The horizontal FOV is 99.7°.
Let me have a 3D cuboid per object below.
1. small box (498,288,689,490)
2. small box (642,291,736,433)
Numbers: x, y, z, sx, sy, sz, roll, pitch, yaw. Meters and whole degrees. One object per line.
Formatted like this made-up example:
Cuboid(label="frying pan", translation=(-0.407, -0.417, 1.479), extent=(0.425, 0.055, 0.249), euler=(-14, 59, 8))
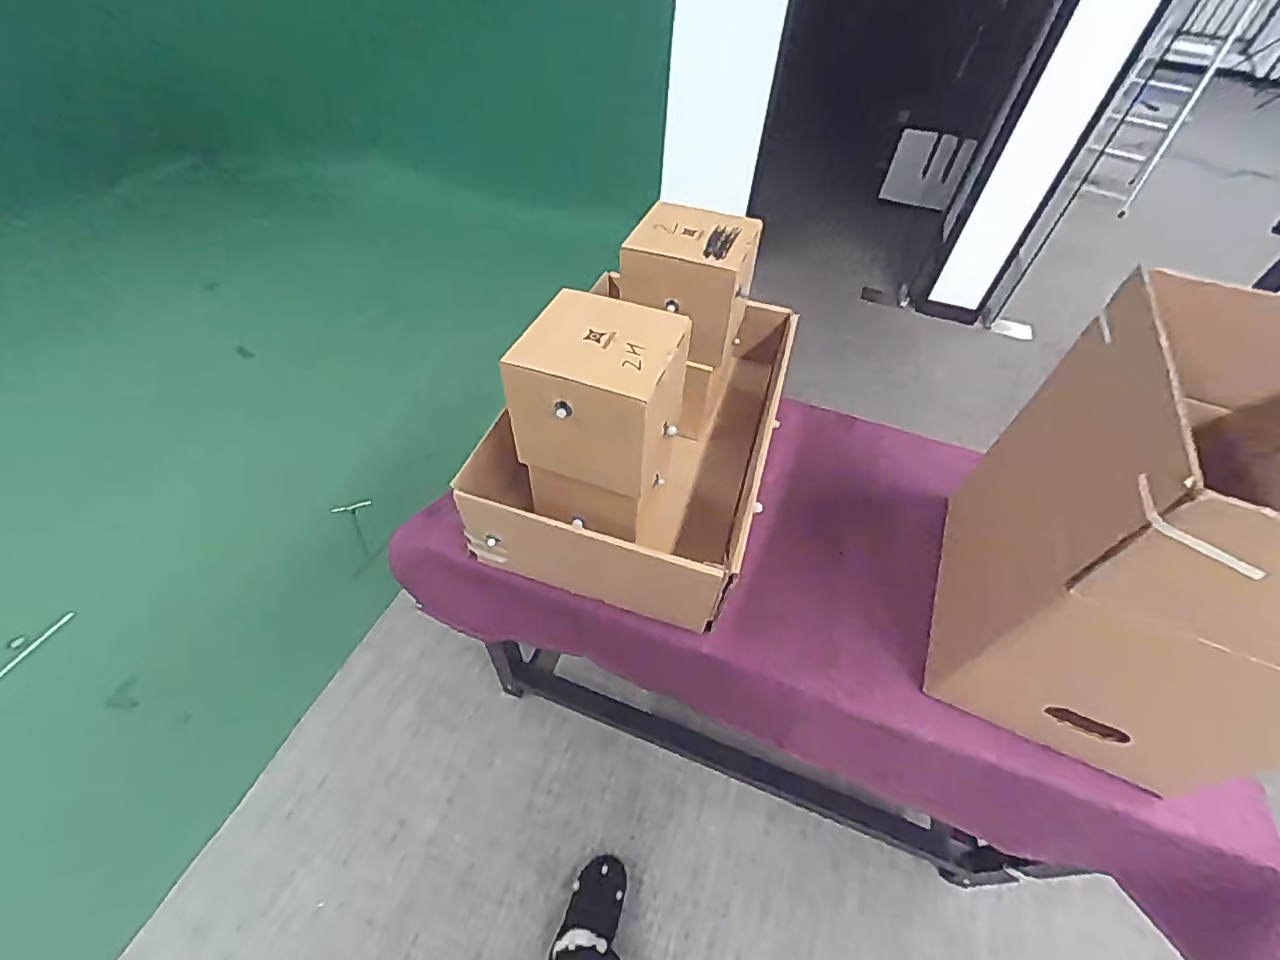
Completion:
Cuboid(label="small box", translation=(-0.051, -0.112, 0.685), extent=(0.179, 0.176, 0.168), euler=(18, 53, 11))
Cuboid(label="small box", translation=(0.065, -0.212, 0.989), extent=(0.168, 0.176, 0.179), euler=(18, 52, 12))
